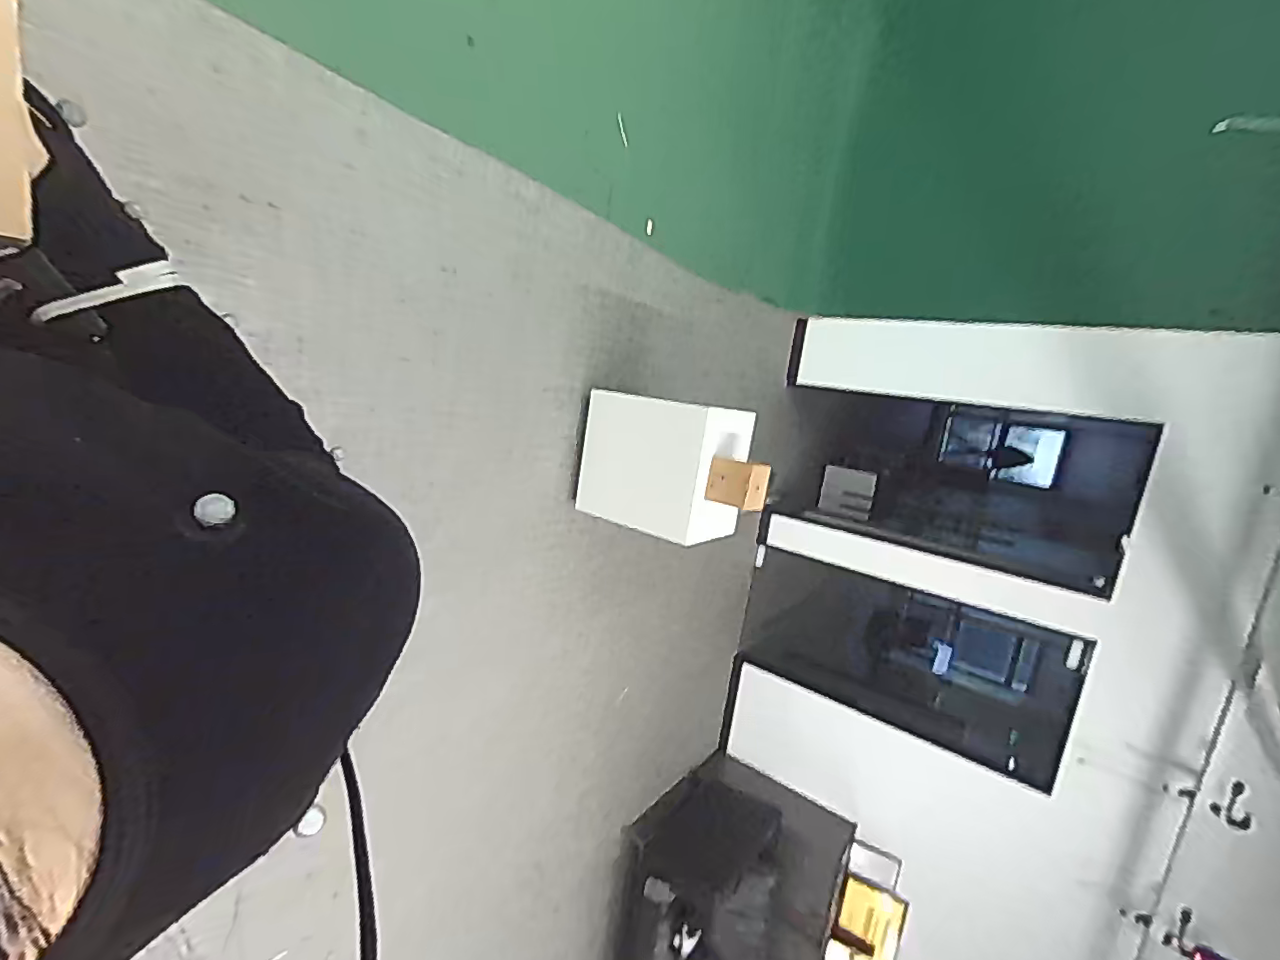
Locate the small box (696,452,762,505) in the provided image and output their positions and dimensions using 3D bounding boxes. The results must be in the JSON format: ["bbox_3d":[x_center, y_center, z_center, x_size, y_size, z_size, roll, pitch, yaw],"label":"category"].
[{"bbox_3d":[0.332,-0.006,2.021,0.179,0.176,0.168,0,102,-56],"label":"small box"}]
